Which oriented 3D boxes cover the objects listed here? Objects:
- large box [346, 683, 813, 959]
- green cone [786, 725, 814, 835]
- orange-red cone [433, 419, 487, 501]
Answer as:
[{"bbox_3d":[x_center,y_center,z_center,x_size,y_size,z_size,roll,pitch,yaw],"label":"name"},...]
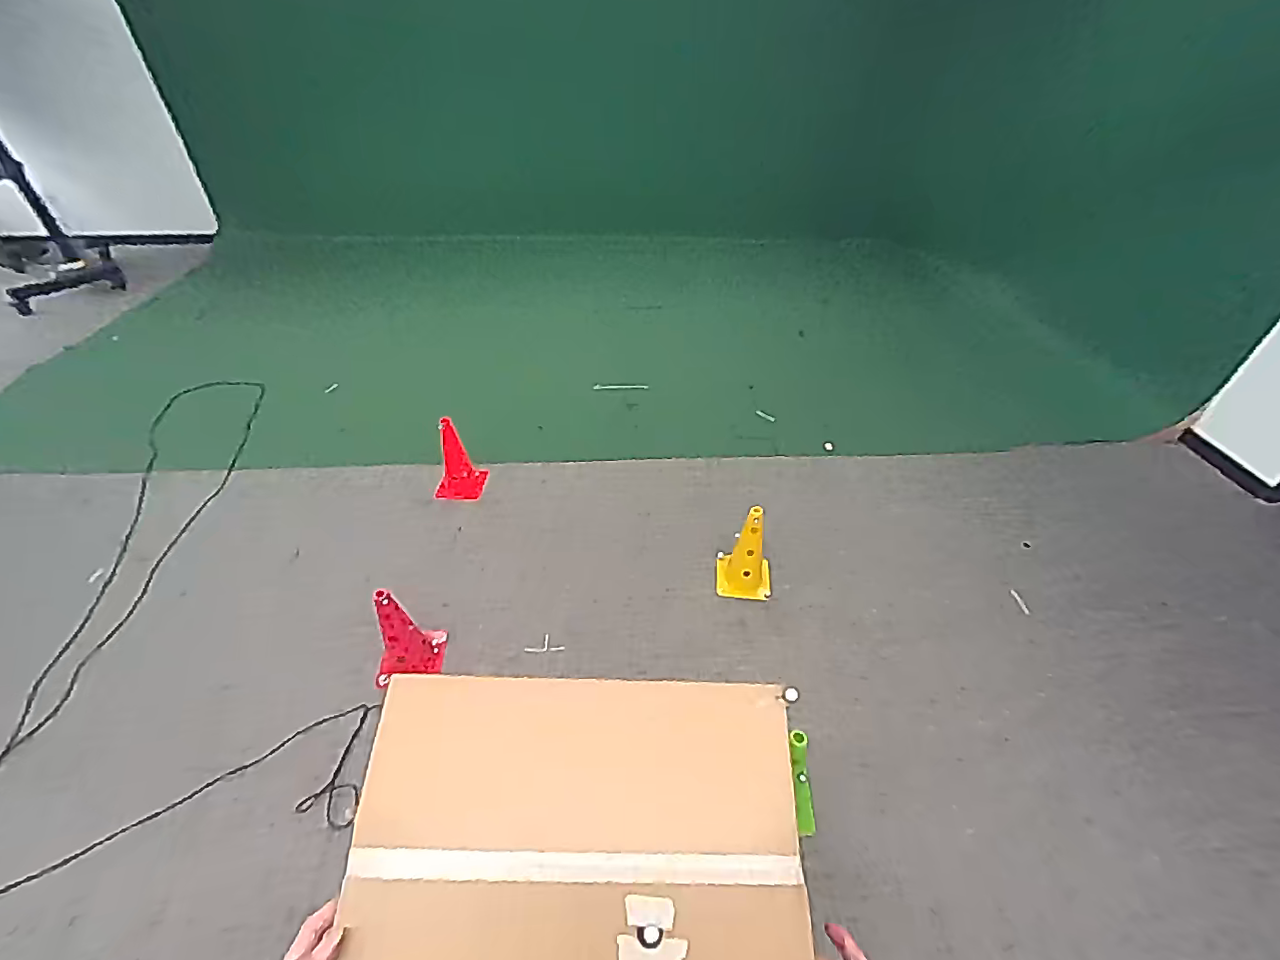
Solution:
[{"bbox_3d":[-0.056,0.421,0.620,0.408,0.320,0.320,1,62,-2],"label":"large box"},{"bbox_3d":[0.376,0.739,1.392,0.200,0.368,0.202,3,40,1],"label":"green cone"},{"bbox_3d":[-0.808,-0.105,2.317,0.199,0.360,0.198,2,41,4],"label":"orange-red cone"}]
